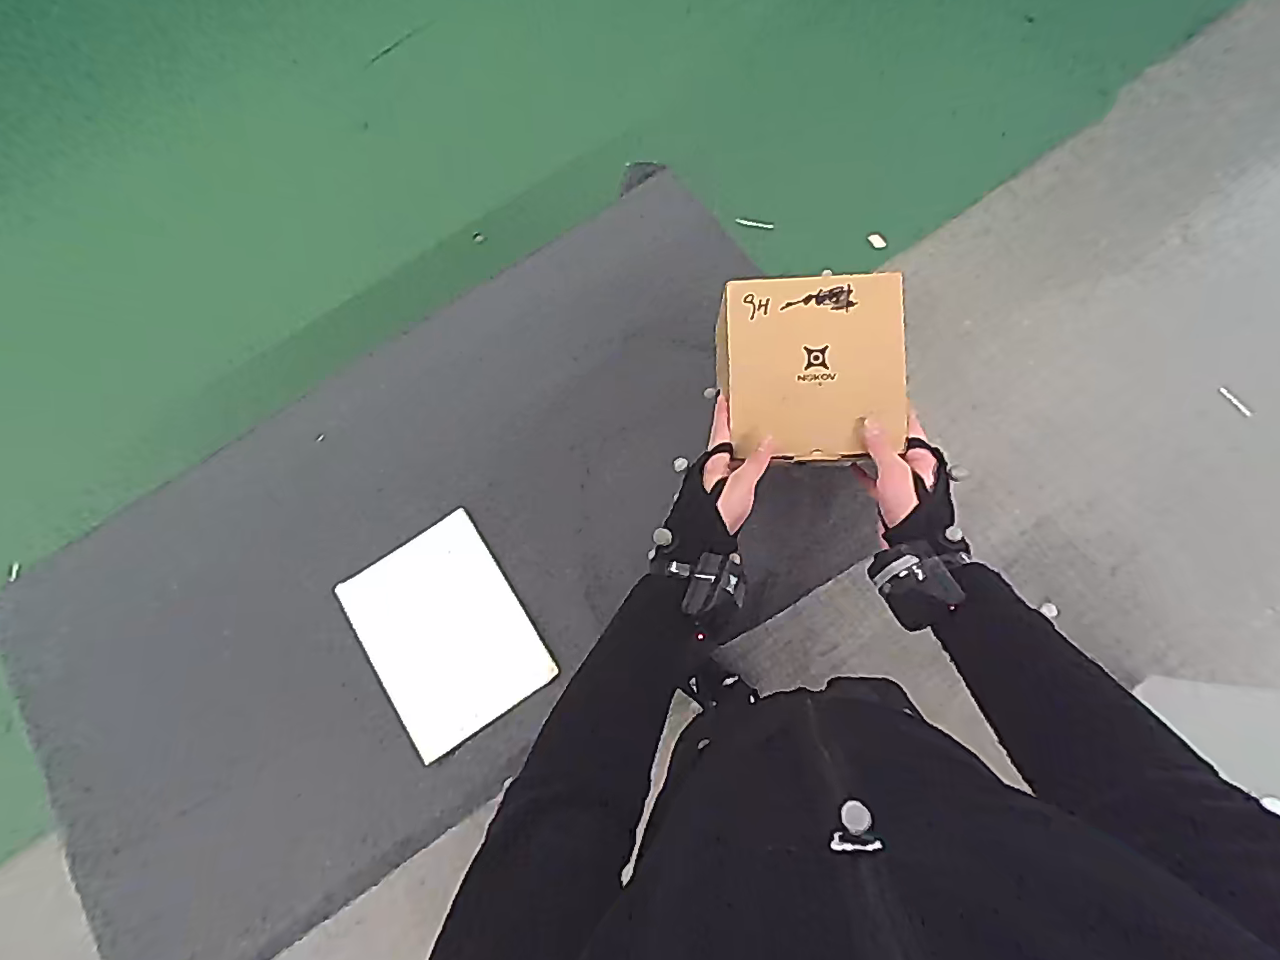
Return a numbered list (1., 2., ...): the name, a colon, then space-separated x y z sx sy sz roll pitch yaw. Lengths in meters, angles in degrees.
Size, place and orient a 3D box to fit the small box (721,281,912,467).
1. small box: 0.179 -0.103 0.594 0.168 0.176 0.179 0 91 4
